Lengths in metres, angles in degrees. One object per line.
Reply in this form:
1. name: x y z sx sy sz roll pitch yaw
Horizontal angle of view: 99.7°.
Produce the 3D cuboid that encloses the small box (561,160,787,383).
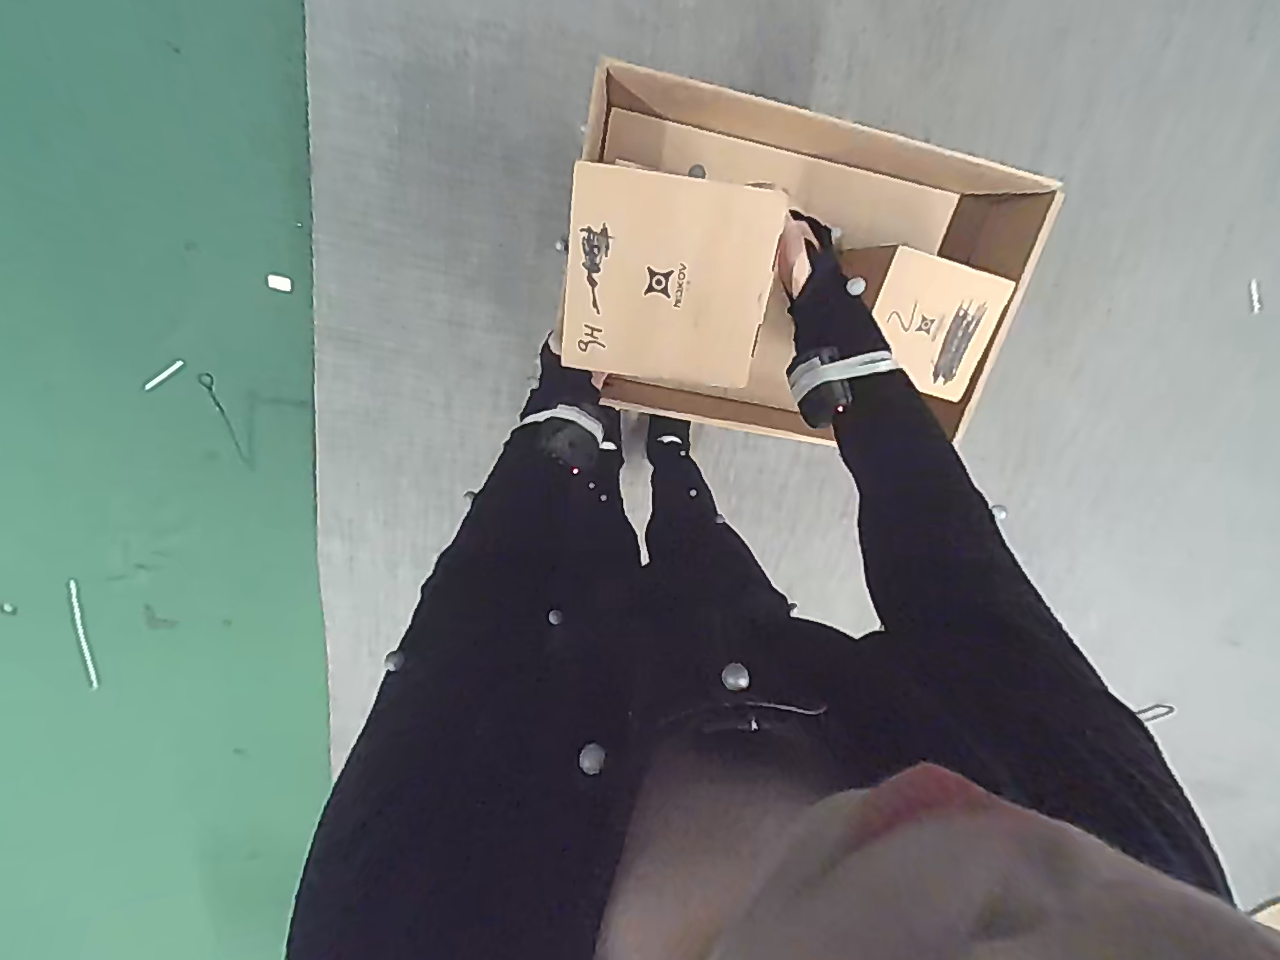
1. small box: 0.021 -0.206 0.535 0.179 0.176 0.168 6 115 -4
